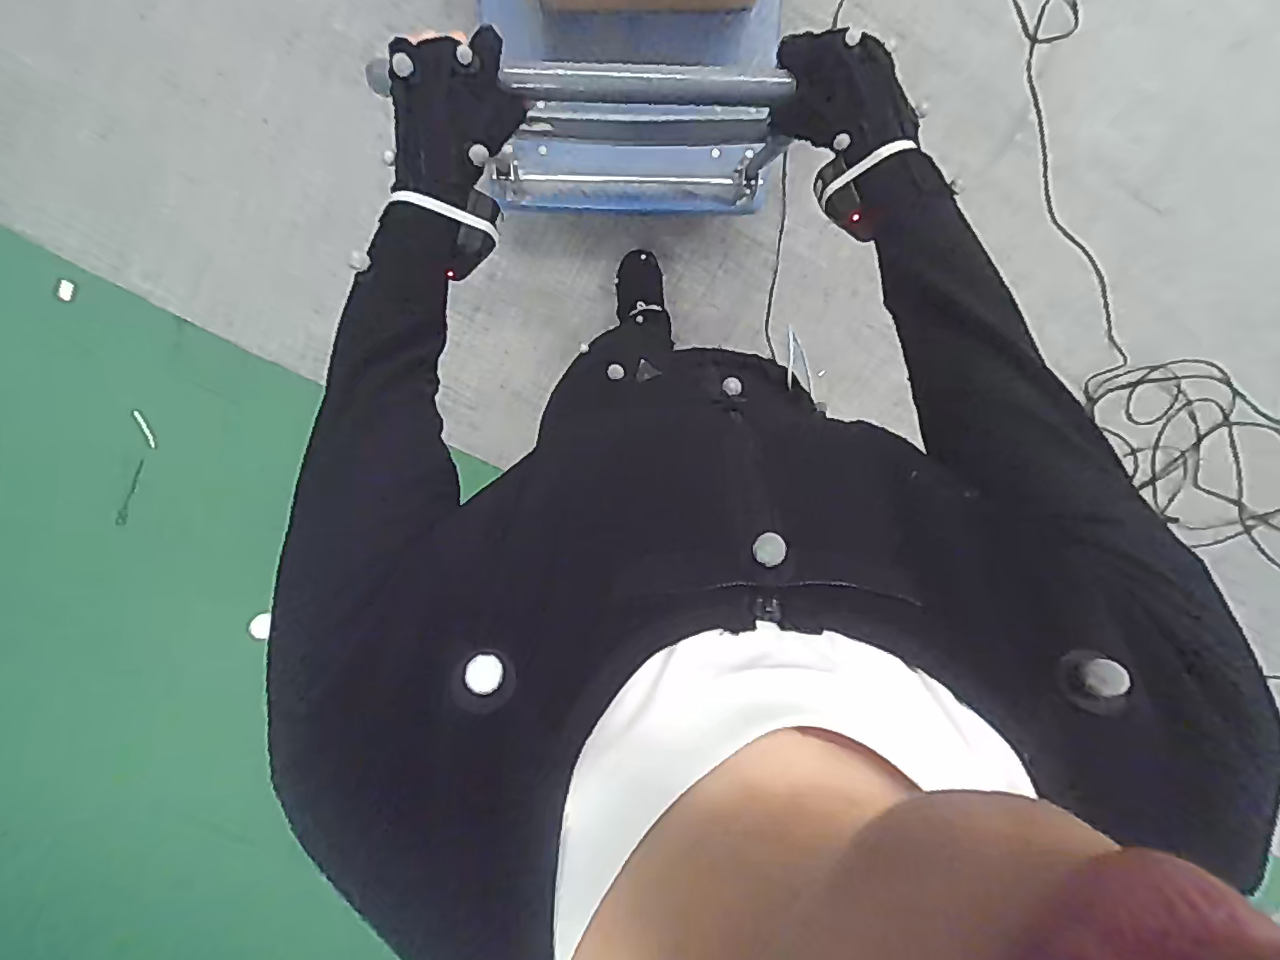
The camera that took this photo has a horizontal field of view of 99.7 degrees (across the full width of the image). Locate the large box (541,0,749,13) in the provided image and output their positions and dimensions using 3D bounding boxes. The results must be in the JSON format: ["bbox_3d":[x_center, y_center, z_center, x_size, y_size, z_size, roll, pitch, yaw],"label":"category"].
[{"bbox_3d":[0.010,-0.996,0.844,0.408,0.320,0.320,-1,107,1],"label":"large box"}]
